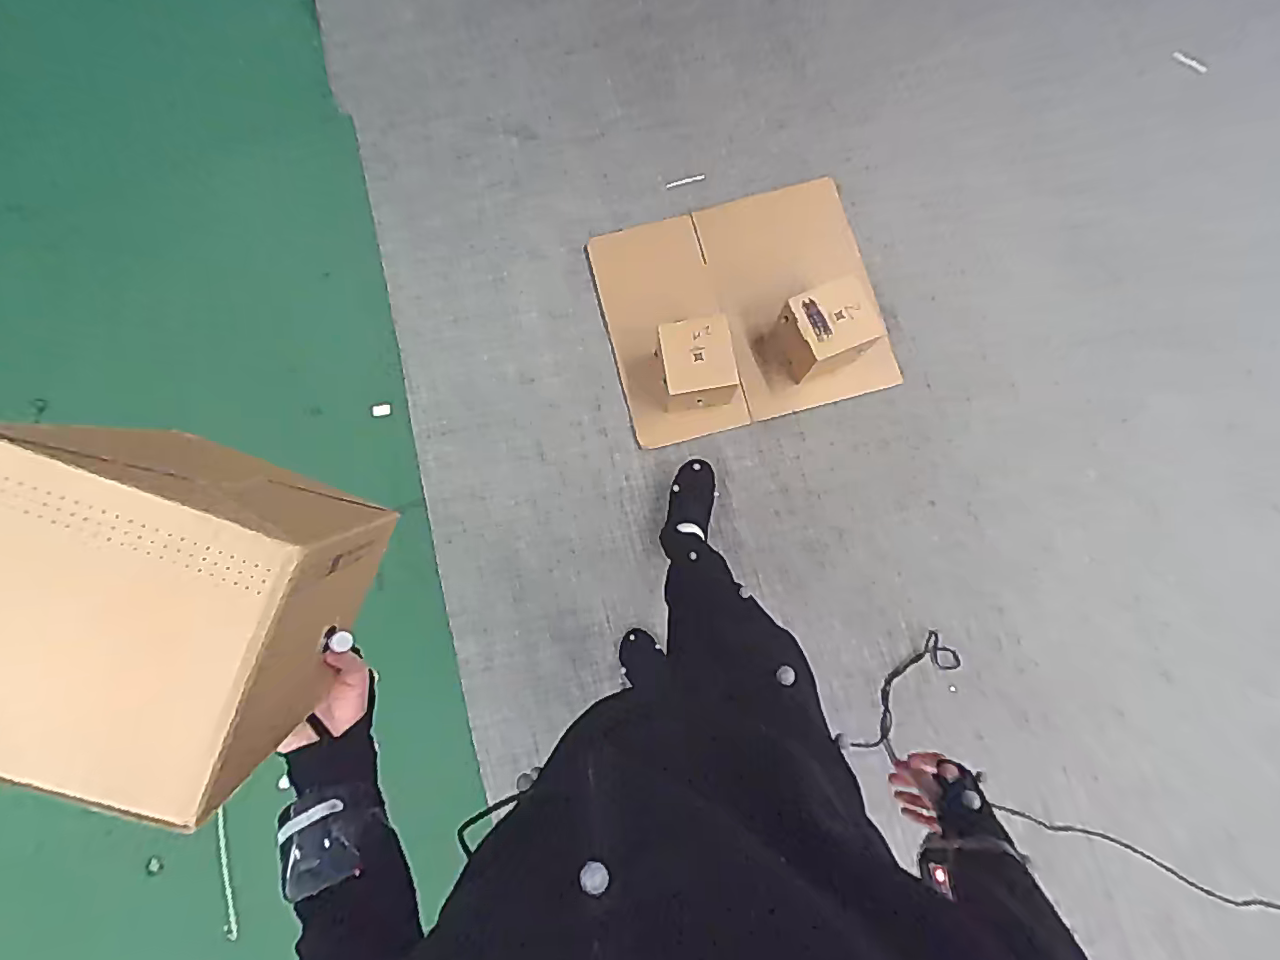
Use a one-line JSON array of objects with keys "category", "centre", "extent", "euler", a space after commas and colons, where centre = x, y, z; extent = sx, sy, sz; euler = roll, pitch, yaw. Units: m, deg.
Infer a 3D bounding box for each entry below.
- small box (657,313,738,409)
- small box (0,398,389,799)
[{"category": "small box", "centre": [0.137, -0.282, 1.325], "extent": [0.168, 0.176, 0.179], "euler": [-9, 81, 0]}, {"category": "small box", "centre": [-0.291, 0.059, 0.356], "extent": [0.179, 0.168, 0.176], "euler": [24, 90, -8]}]
